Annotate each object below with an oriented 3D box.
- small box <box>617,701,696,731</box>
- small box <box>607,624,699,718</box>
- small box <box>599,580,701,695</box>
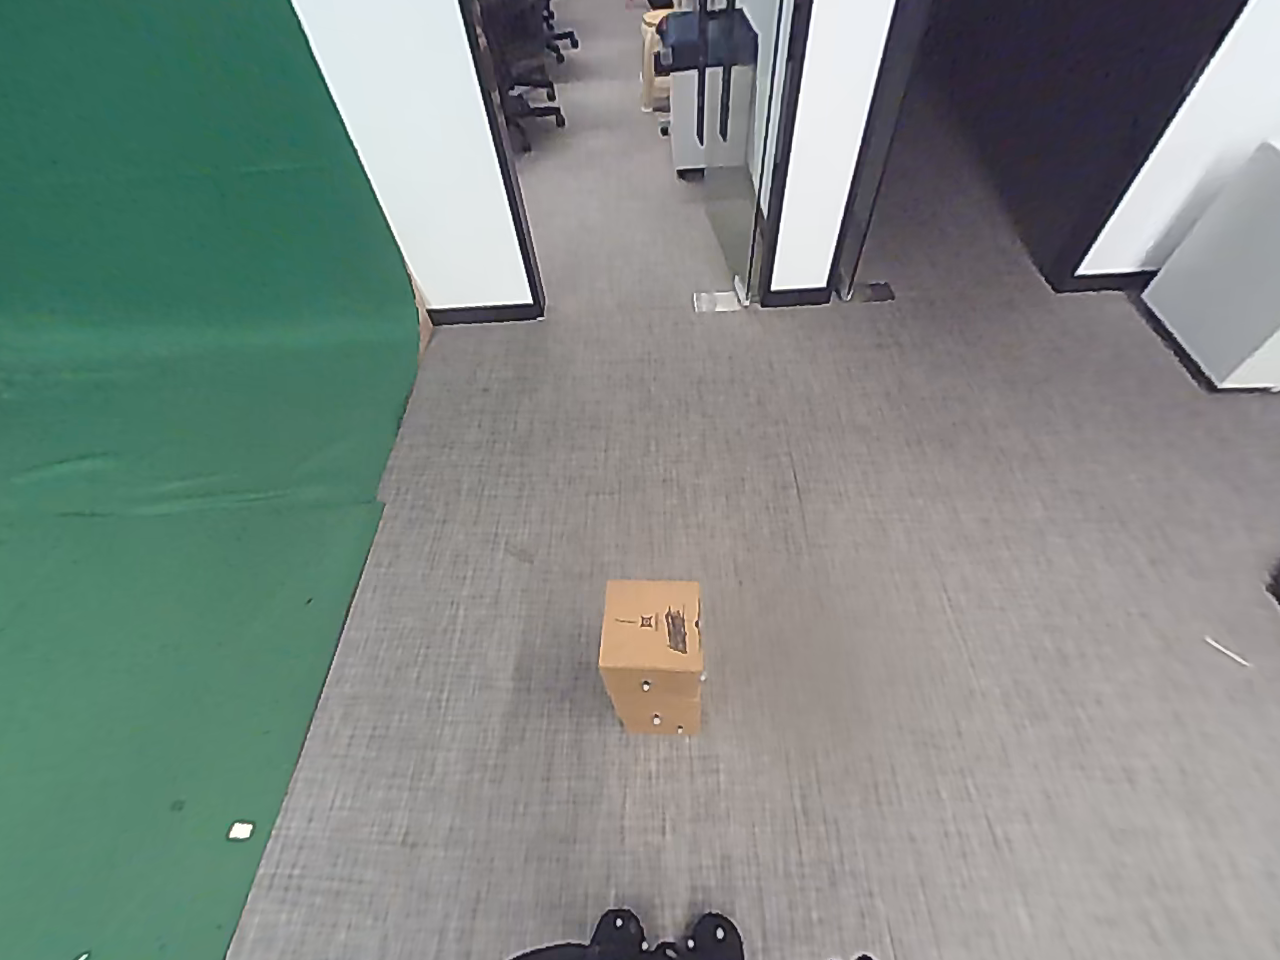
[{"bbox_3d":[0.043,0.496,1.298,0.179,0.176,0.168,-2,53,5],"label":"small box"},{"bbox_3d":[0.032,0.403,1.164,0.179,0.176,0.168,3,53,6],"label":"small box"},{"bbox_3d":[0.020,0.303,1.033,0.179,0.176,0.168,0,53,2],"label":"small box"}]
